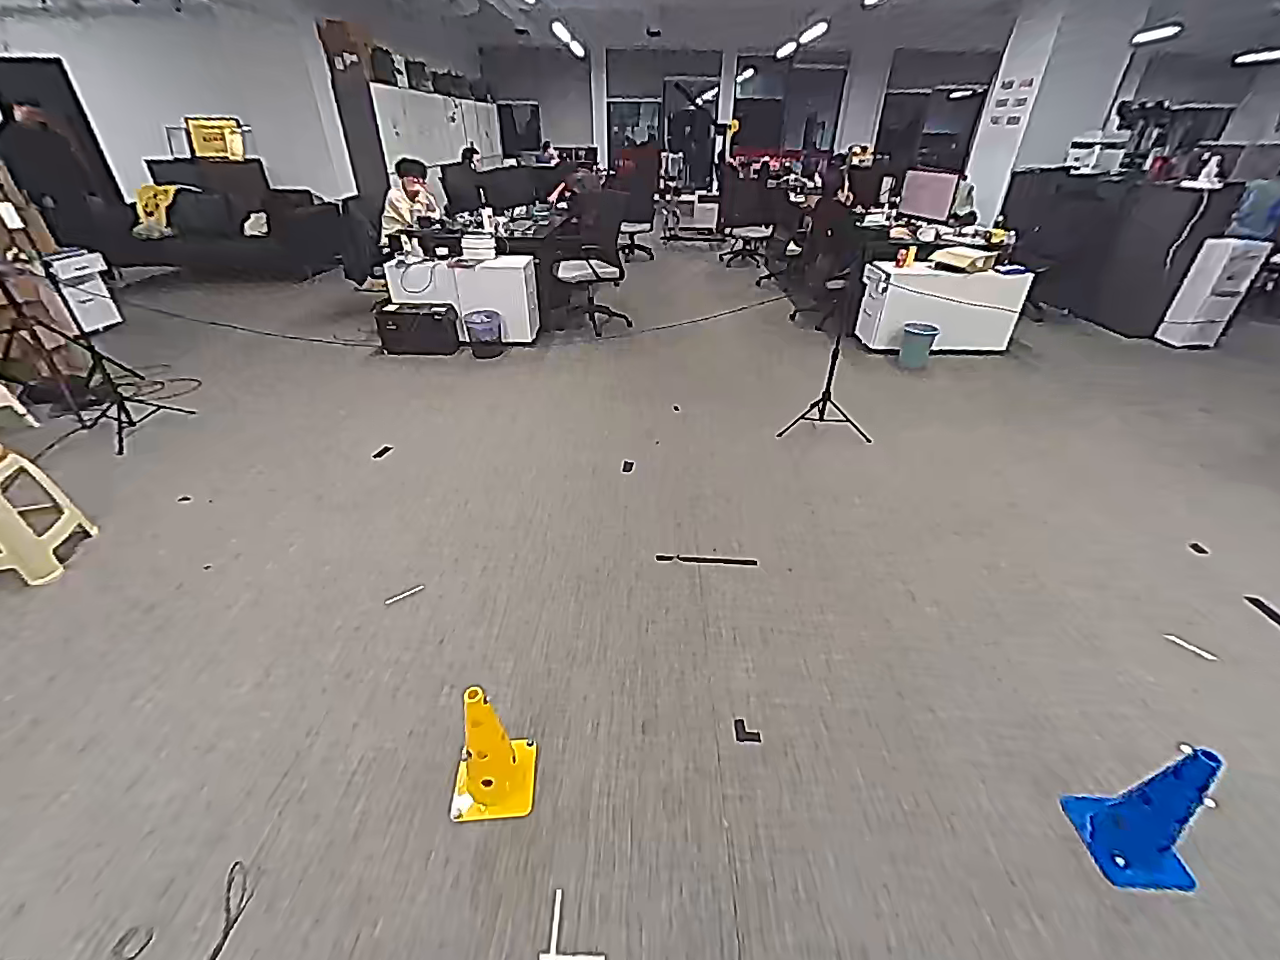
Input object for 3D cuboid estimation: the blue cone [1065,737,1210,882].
[{"bbox_3d":[1.160,0.712,1.209,0.193,0.380,0.192,2,31,2],"label":"blue cone"}]
